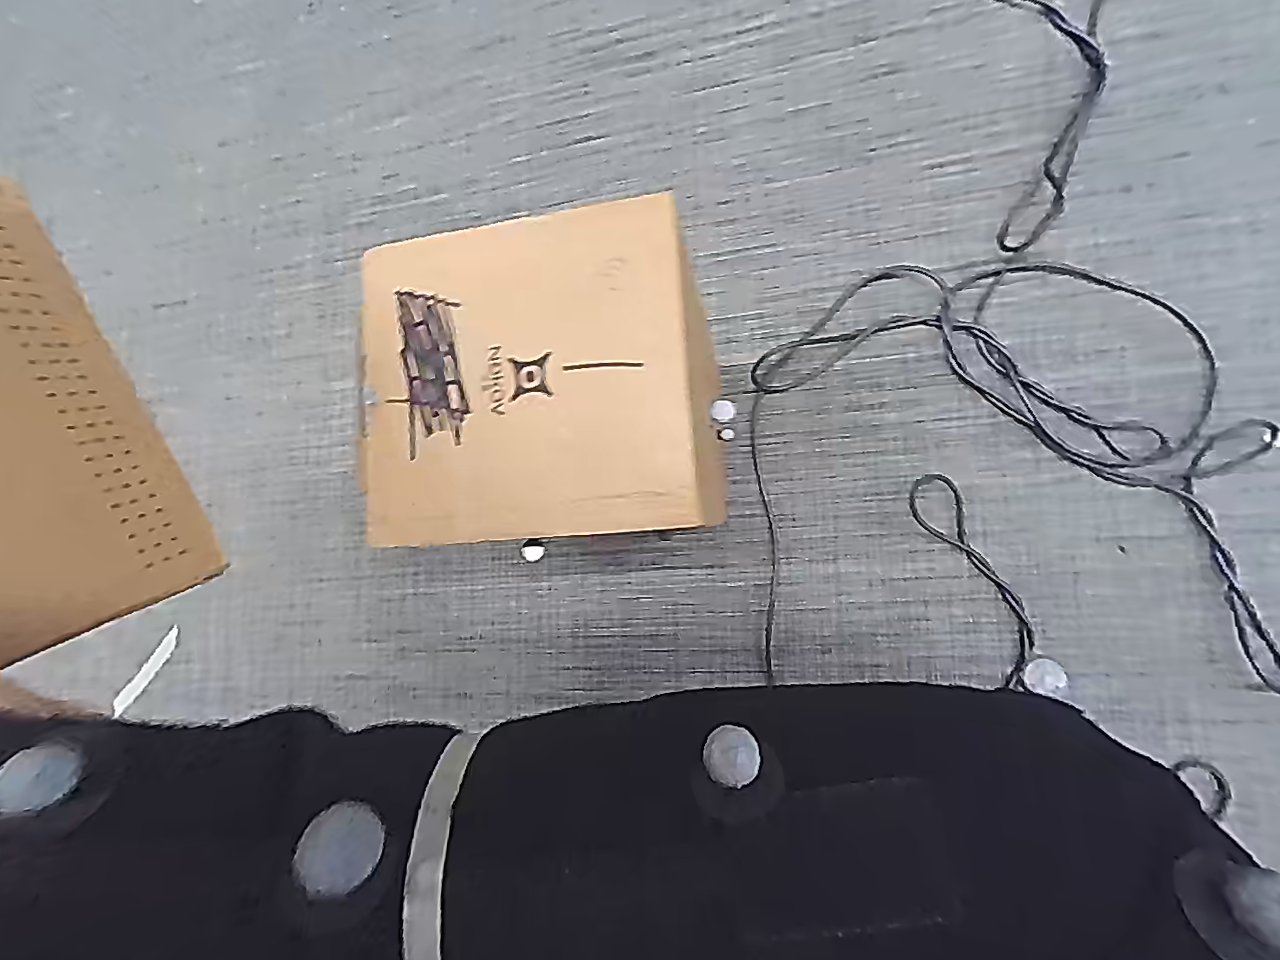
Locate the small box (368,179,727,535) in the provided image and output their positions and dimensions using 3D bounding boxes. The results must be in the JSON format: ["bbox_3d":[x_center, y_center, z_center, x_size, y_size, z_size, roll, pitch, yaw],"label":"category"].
[{"bbox_3d":[-0.041,-0.050,0.345,0.179,0.176,0.168,-5,85,11],"label":"small box"}]
